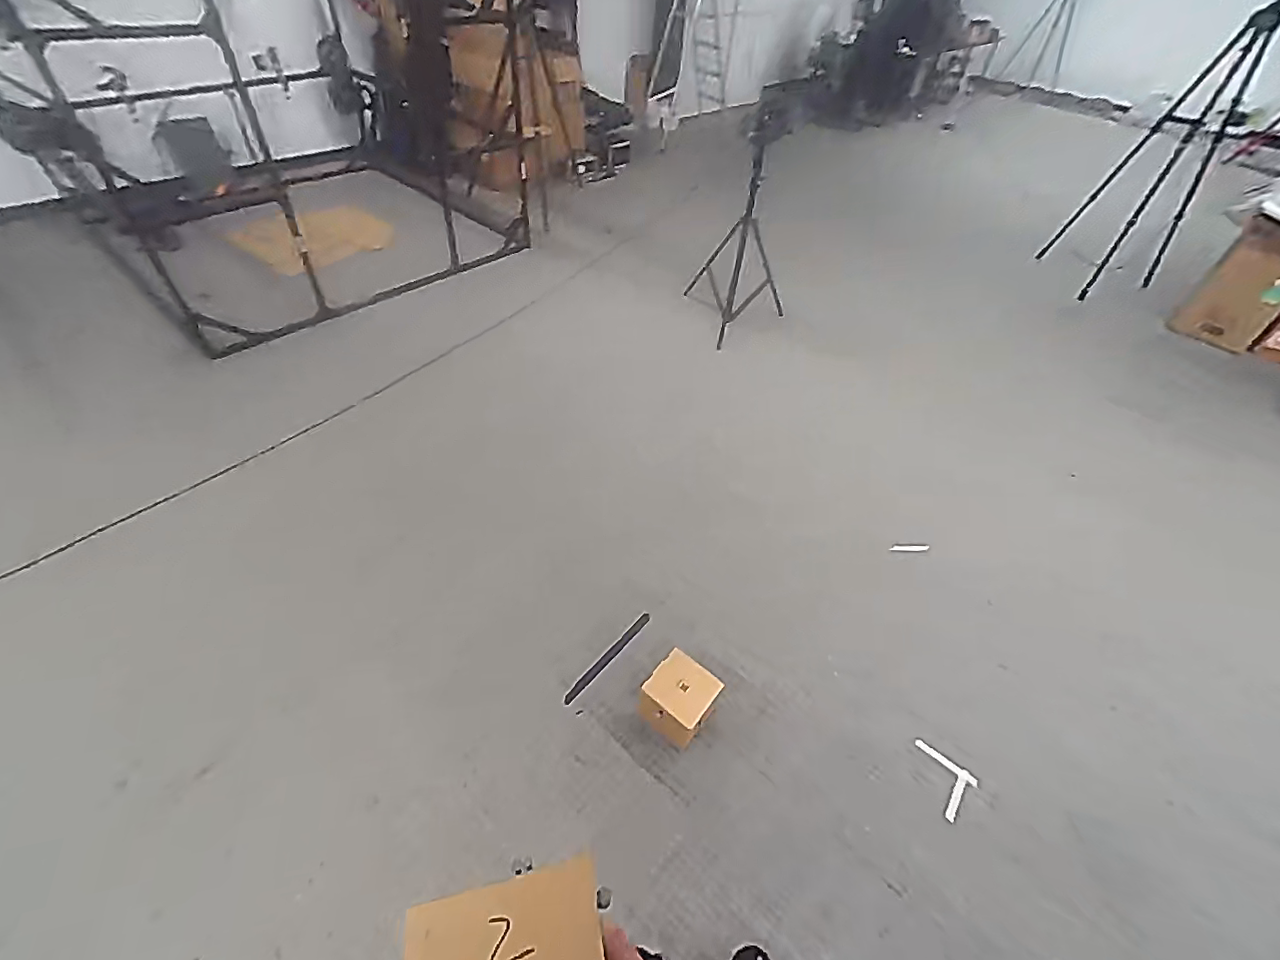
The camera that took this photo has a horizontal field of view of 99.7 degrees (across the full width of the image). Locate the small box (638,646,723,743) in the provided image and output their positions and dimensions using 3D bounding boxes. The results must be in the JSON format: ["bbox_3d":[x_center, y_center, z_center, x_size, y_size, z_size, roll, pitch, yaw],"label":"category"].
[{"bbox_3d":[0.112,0.621,1.550,0.179,0.176,0.168,33,52,24],"label":"small box"}]

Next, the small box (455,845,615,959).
[{"bbox_3d":[-0.119,0.561,0.644,0.168,0.176,0.179,-10,58,-13],"label":"small box"}]
